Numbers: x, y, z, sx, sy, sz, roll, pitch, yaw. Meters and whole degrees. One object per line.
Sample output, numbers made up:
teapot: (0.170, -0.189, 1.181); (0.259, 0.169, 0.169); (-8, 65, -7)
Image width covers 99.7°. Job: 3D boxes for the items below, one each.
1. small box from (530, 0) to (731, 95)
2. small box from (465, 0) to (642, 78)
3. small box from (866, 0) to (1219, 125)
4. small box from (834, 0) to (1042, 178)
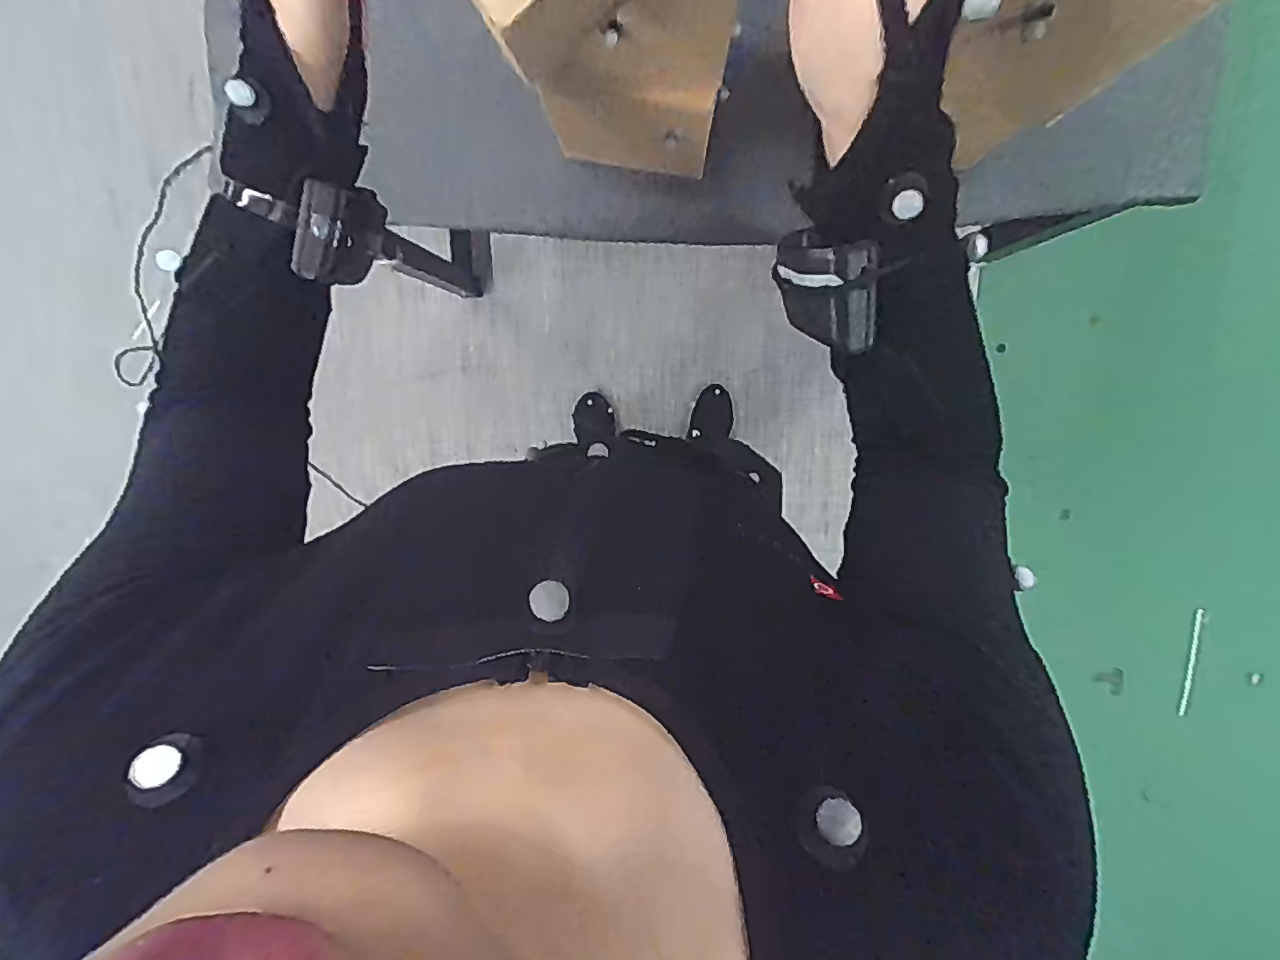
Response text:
small box: (-0.015, -0.433, 0.422); (0.179, 0.176, 0.168); (1, 99, 3)
small box: (-0.043, -0.309, 0.215); (0.168, 0.176, 0.179); (-32, 117, 12)
small box: (0.303, -0.405, 0.411); (0.179, 0.176, 0.168); (12, 99, 2)
small box: (0.313, -0.445, 0.569); (0.168, 0.176, 0.179); (1, 100, 4)
